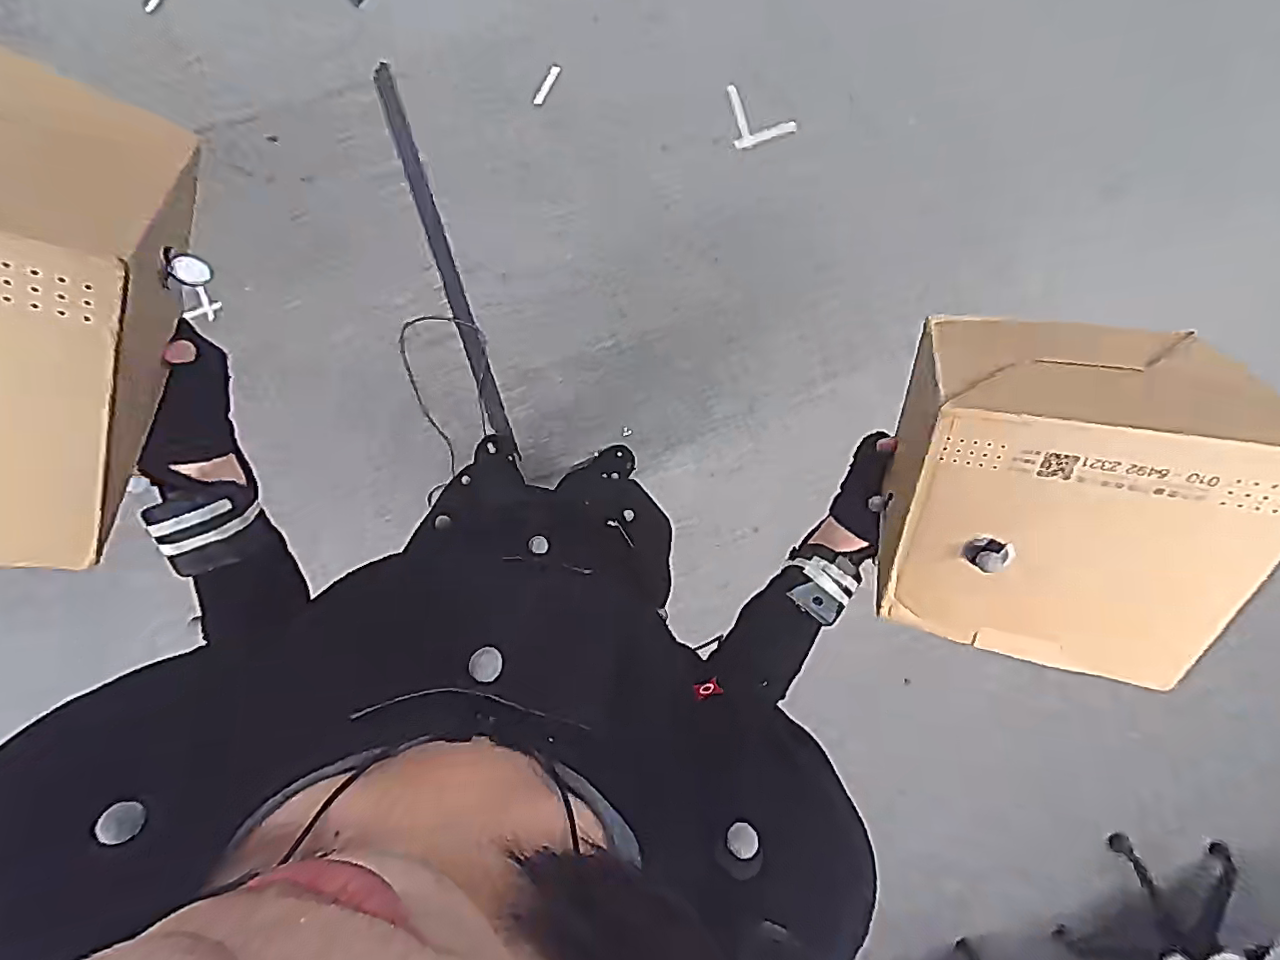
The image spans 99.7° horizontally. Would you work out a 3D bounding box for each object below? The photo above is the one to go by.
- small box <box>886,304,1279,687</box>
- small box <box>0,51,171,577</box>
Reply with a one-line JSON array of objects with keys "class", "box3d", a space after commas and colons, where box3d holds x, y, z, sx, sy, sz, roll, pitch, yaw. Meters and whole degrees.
[{"class": "small box", "box3d": [0.264, -0.007, 0.351, 0.168, 0.179, 0.176, 11, 127, 18]}, {"class": "small box", "box3d": [-0.314, -0.084, 0.215, 0.168, 0.179, 0.176, 12, 125, -37]}]
